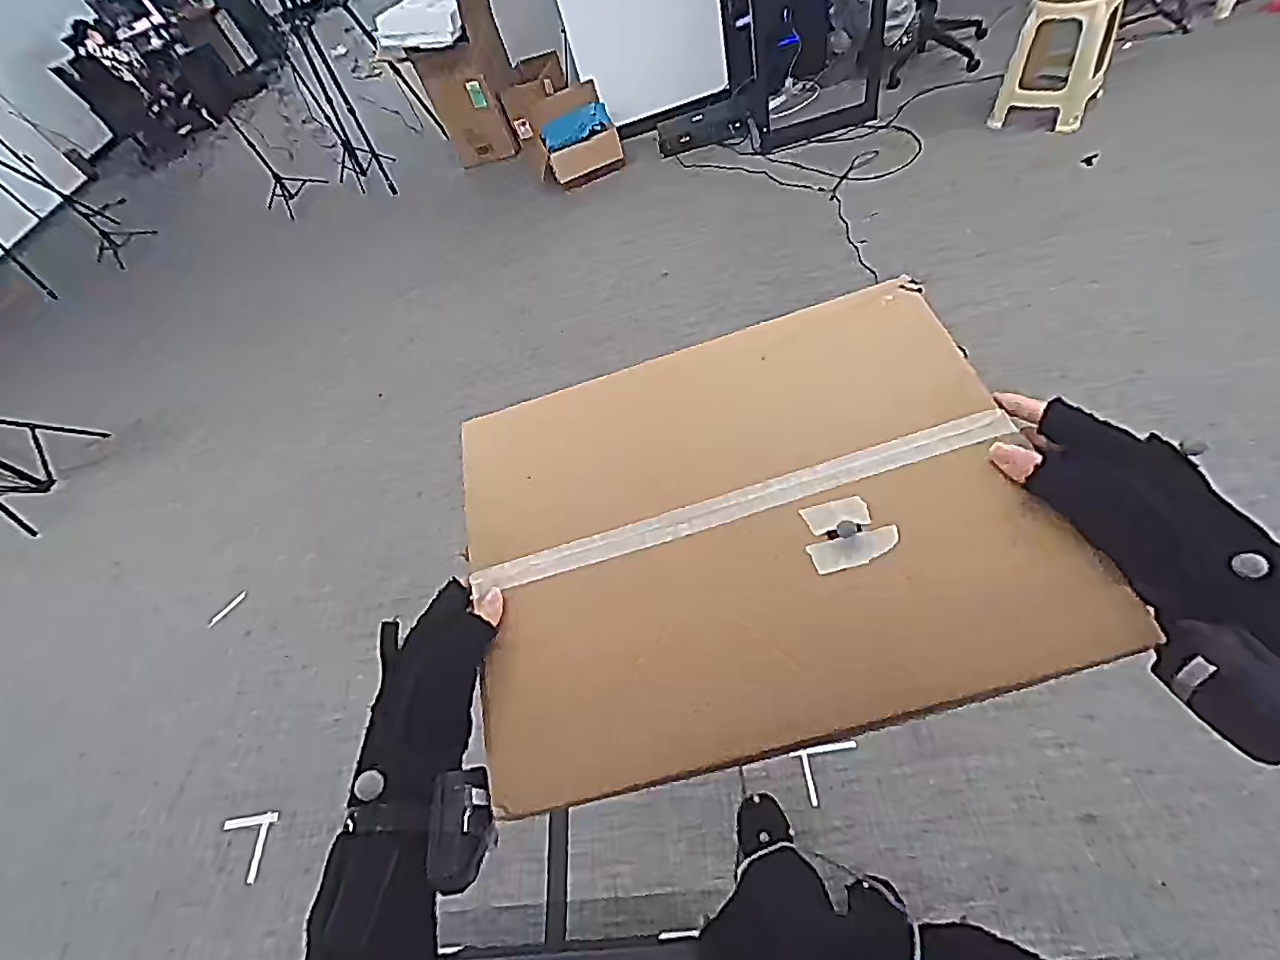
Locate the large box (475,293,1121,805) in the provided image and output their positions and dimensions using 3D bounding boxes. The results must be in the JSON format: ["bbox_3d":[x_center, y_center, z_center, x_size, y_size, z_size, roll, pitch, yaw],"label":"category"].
[{"bbox_3d":[0.100,0.091,0.539,0.408,0.320,0.320,-18,61,4],"label":"large box"}]
